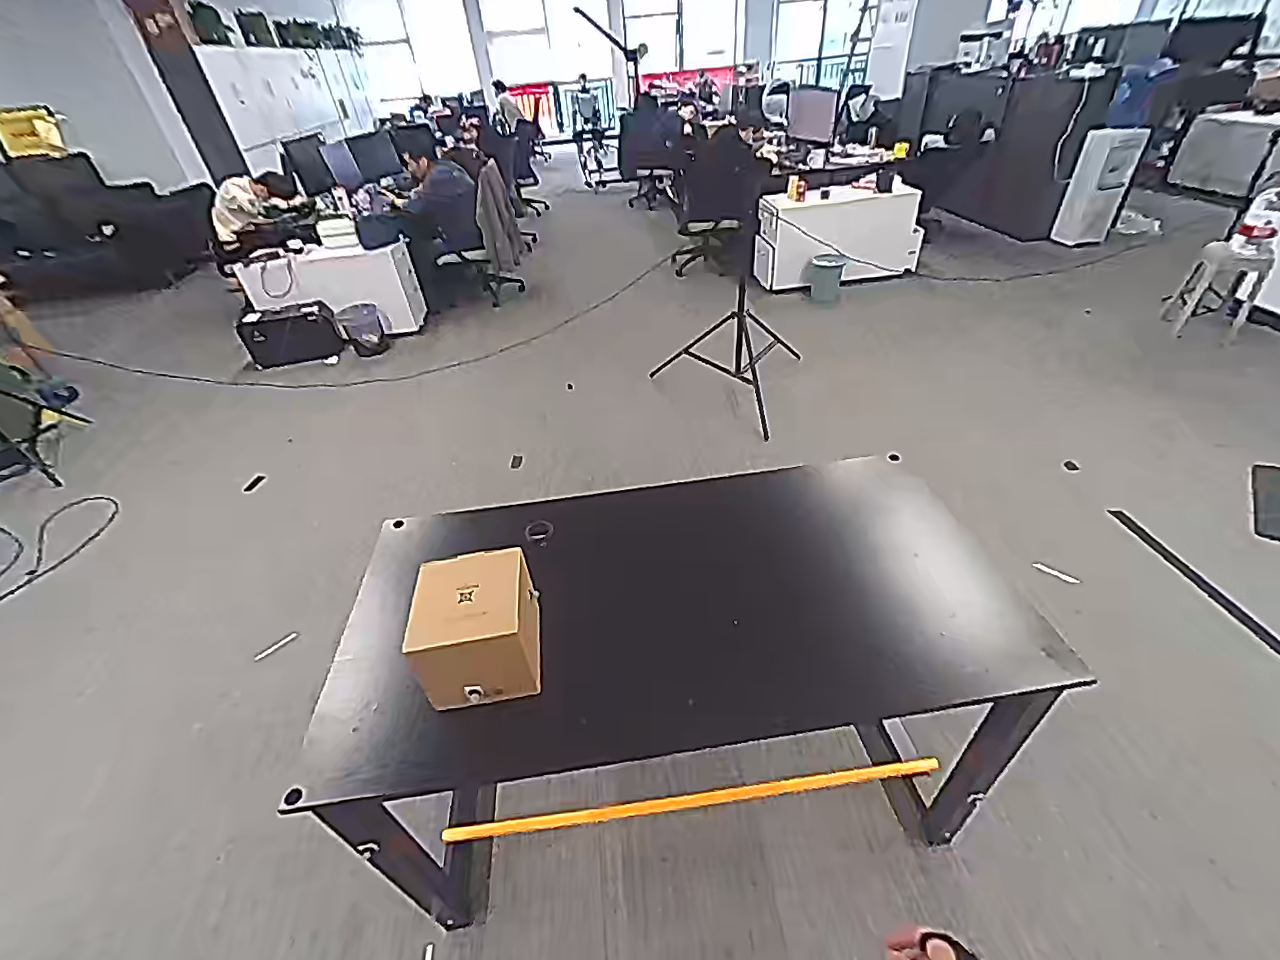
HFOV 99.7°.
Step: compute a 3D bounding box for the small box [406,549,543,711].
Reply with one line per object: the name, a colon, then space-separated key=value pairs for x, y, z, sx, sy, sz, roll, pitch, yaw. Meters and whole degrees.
small box: x=-0.256 y=0.243 z=0.880 sx=0.168 sy=0.176 sz=0.179 roll=-10 pitch=39 yaw=-4
